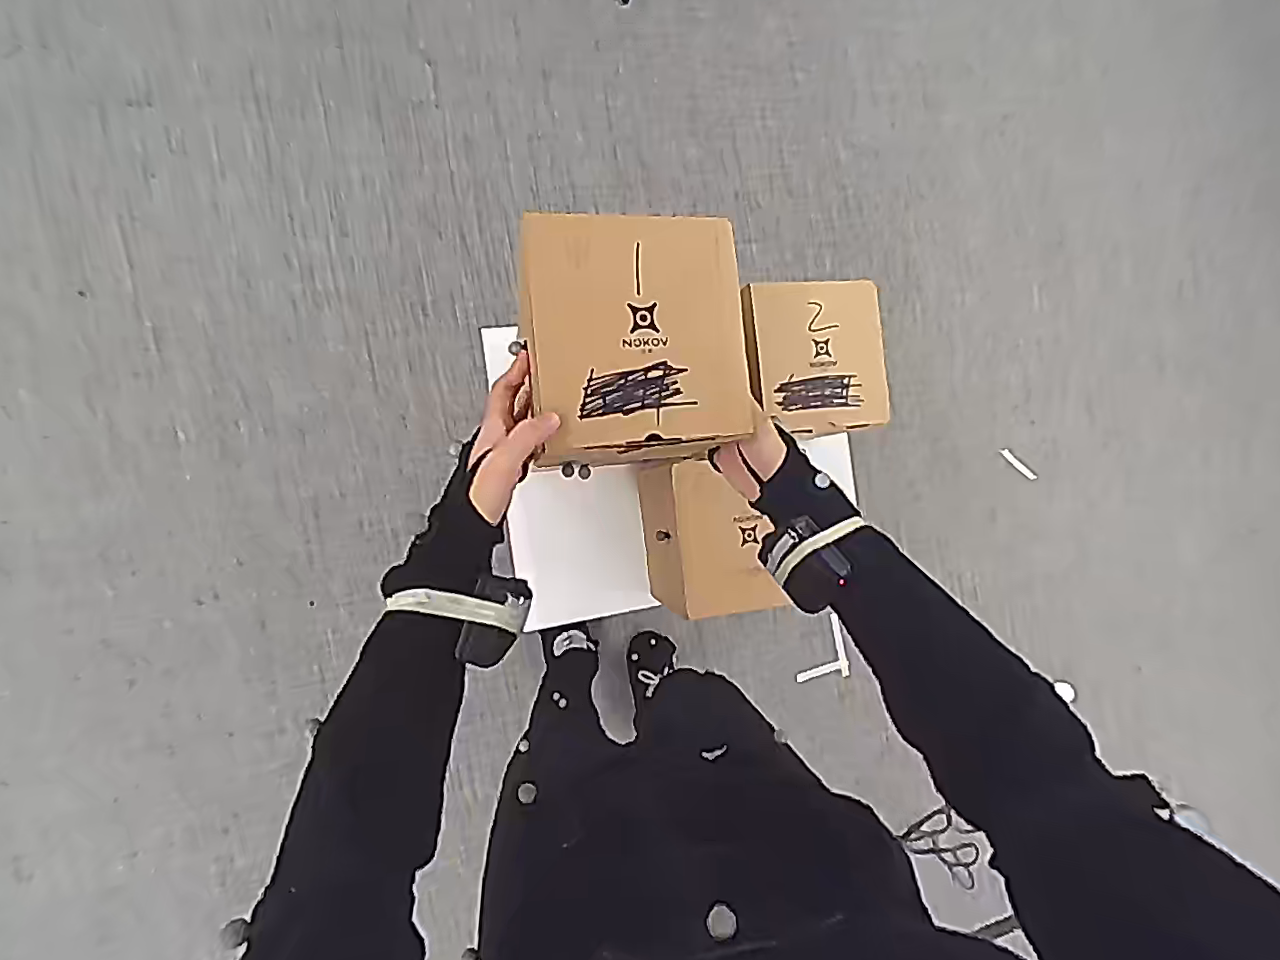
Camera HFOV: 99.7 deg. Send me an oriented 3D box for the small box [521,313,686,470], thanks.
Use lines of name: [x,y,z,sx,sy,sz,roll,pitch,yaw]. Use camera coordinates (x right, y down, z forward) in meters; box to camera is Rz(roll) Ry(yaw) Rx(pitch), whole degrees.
small box: [-0.051,-0.104,0.642,0.168,0.176,0.179,-5,89,-14]

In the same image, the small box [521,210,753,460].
small box: [-0.016,-0.111,0.482,0.168,0.176,0.179,-5,89,-14]
